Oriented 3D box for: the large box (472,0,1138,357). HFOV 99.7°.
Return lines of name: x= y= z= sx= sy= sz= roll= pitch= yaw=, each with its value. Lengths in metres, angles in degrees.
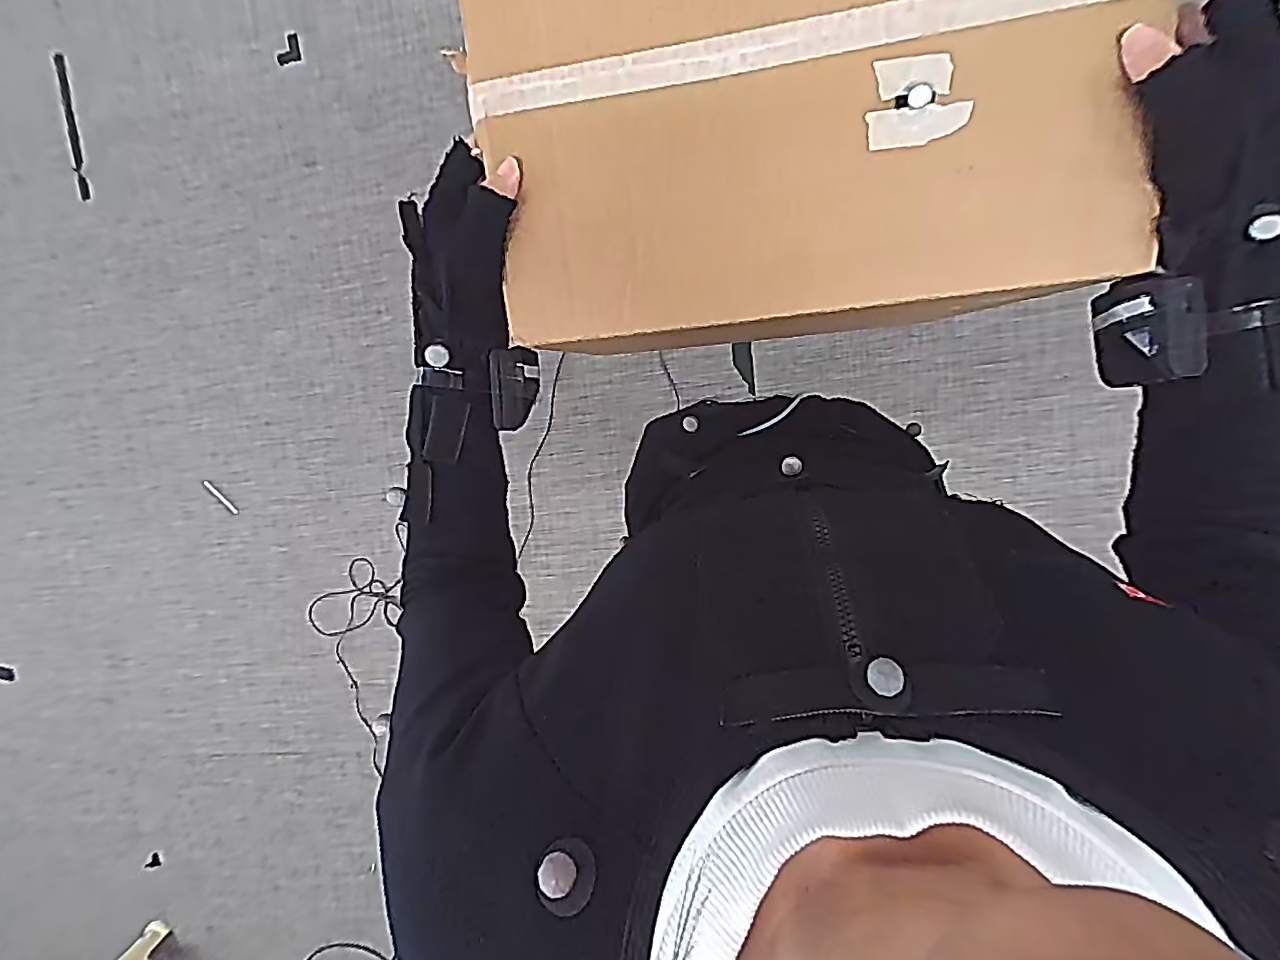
large box: x=0.108 y=-0.296 z=0.486 sx=0.408 sy=0.320 sz=0.320 roll=-5 pitch=101 yaw=7
